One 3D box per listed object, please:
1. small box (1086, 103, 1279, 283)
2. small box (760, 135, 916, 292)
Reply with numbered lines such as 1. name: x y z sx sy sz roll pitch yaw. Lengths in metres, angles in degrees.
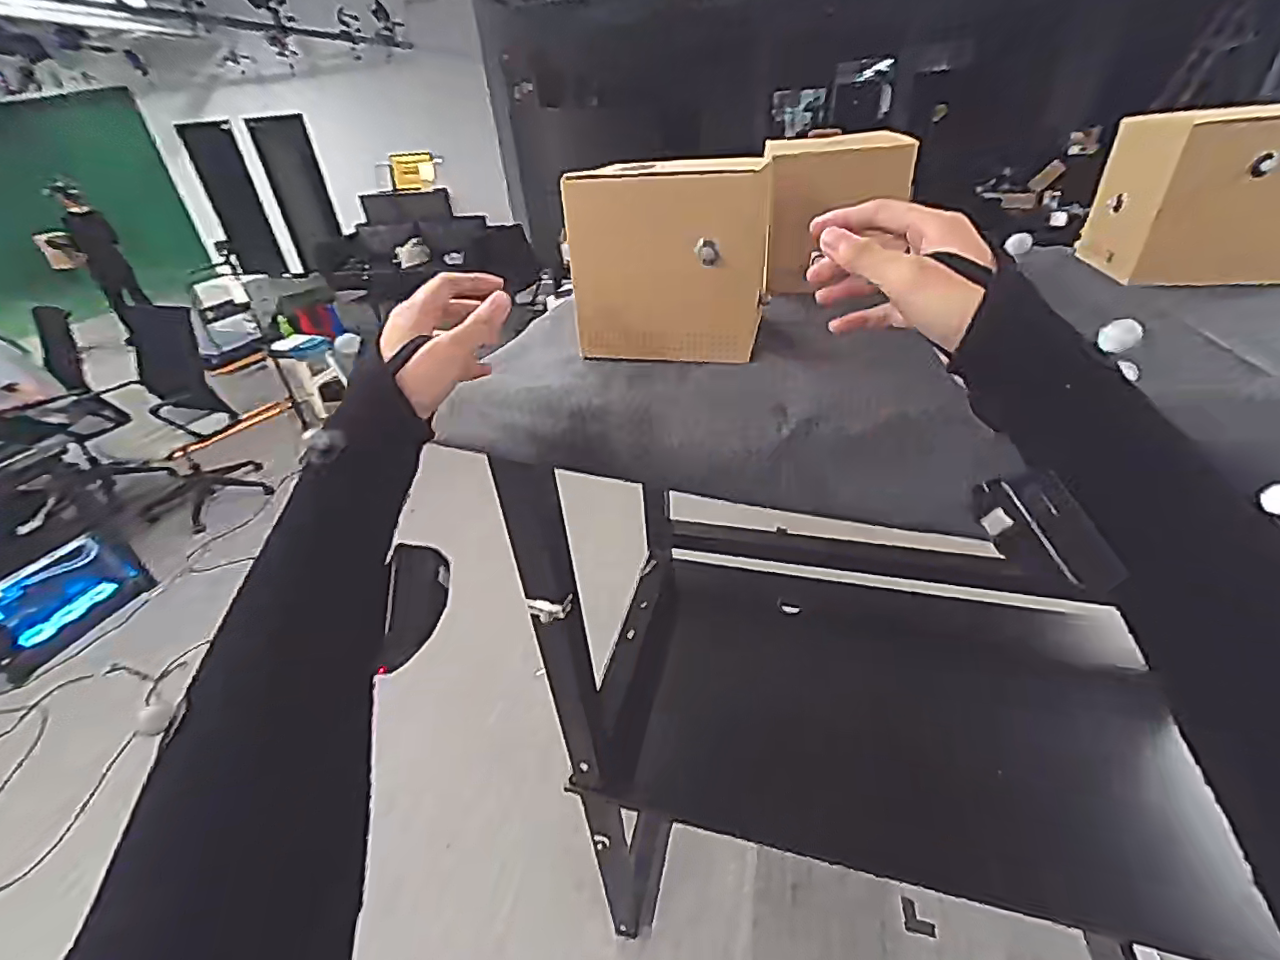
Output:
1. small box: 0.674 -0.338 0.641 0.179 0.176 0.168 5 36 15
2. small box: 0.251 -0.362 0.735 0.168 0.176 0.179 0 34 10
